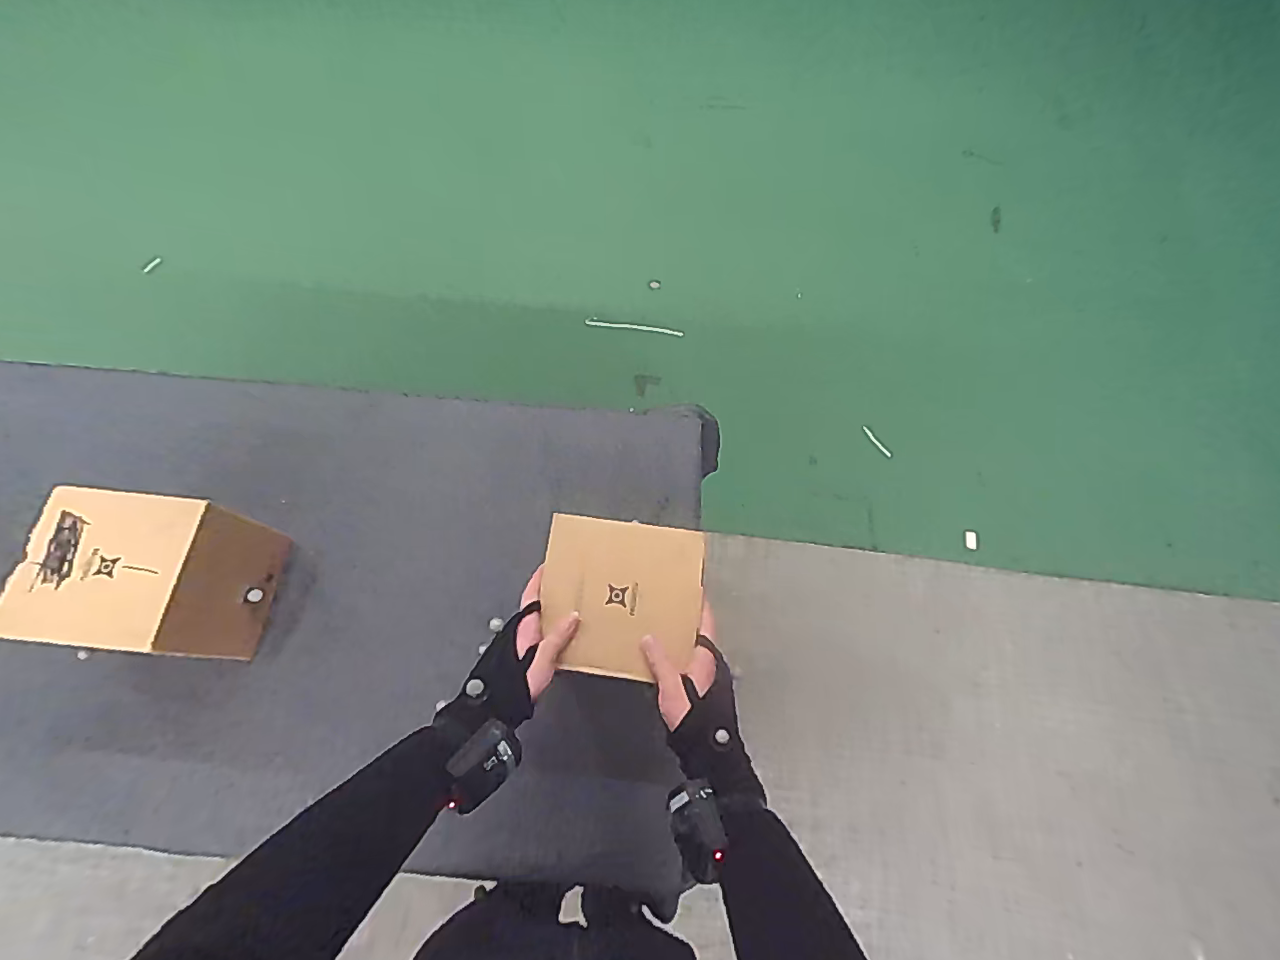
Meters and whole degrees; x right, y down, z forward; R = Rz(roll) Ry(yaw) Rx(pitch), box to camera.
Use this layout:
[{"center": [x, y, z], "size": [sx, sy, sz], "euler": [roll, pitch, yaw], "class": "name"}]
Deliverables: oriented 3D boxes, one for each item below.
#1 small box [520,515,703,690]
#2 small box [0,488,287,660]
[{"center": [-0.026, 0.151, 0.645], "size": [0.179, 0.176, 0.168], "euler": [6, 69, 3], "class": "small box"}, {"center": [-0.577, 0.120, 0.646], "size": [0.179, 0.176, 0.168], "euler": [6, 70, 0], "class": "small box"}]
